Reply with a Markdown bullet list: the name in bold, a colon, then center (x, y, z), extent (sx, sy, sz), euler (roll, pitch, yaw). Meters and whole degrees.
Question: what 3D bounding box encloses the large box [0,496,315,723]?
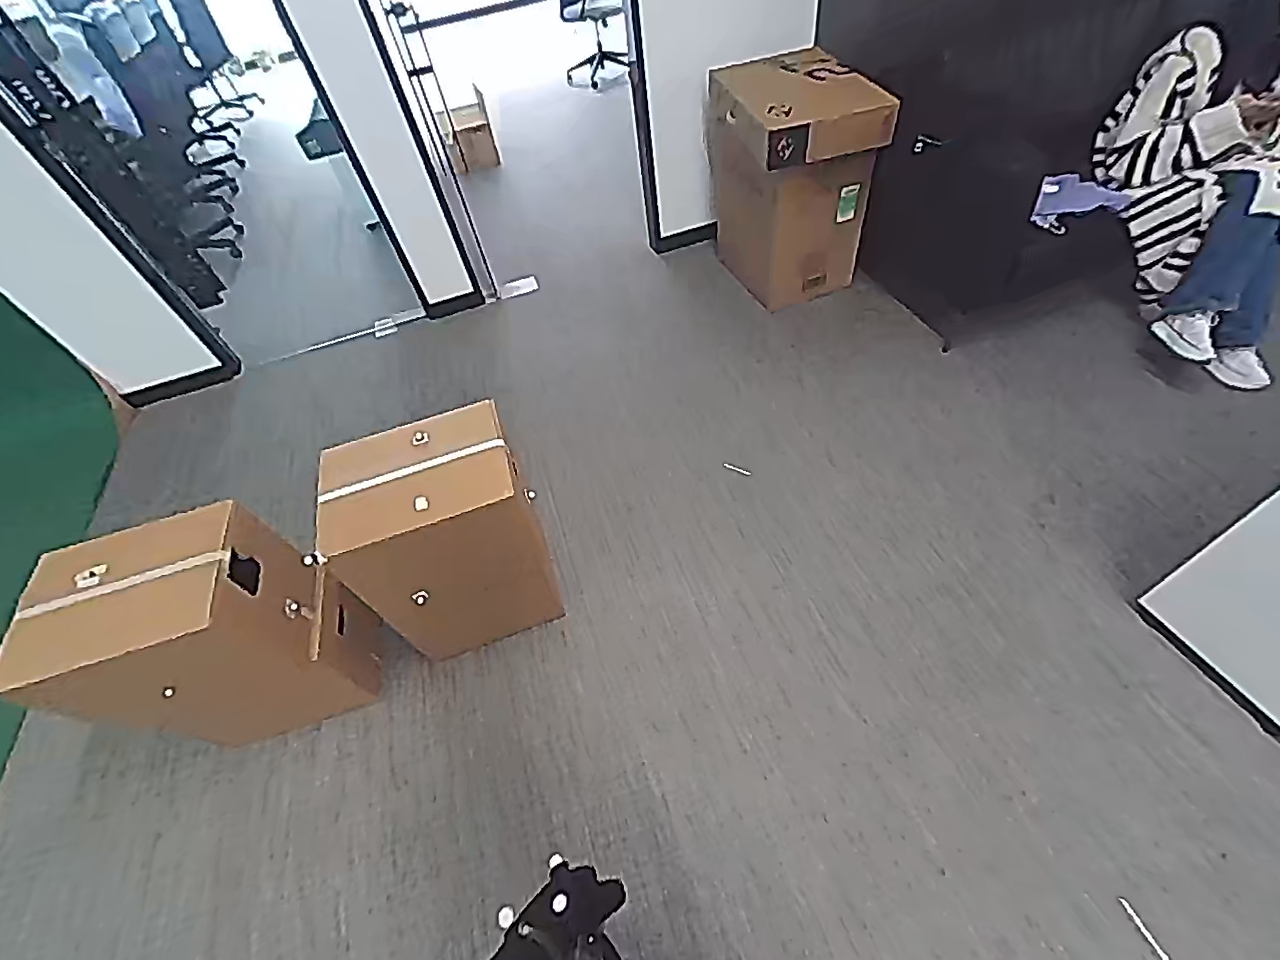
- **large box**: center (-1.007, 0.293, 1.194), extent (0.408, 0.320, 0.320), euler (-17, 54, -3)
